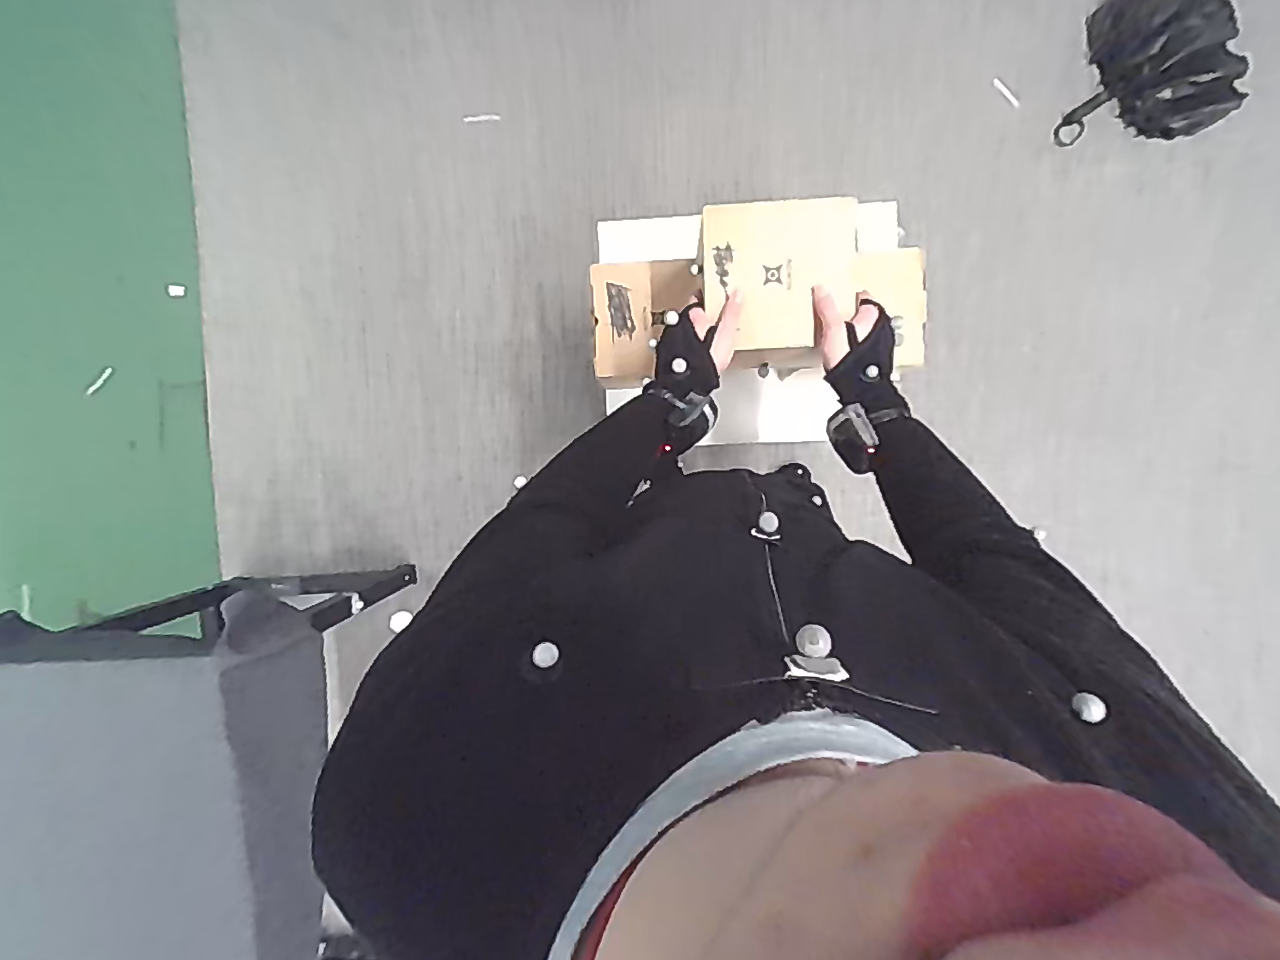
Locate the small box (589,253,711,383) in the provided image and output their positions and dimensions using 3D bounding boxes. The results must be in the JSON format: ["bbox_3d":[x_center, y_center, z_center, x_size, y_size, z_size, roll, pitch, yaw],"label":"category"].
[{"bbox_3d":[0.018,-0.245,0.855,0.179,0.176,0.168,-2,95,0],"label":"small box"}]

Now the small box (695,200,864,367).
[{"bbox_3d":[0.165,-0.238,0.689,0.179,0.176,0.168,-1,95,1],"label":"small box"}]

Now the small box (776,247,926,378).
[{"bbox_3d":[0.318,-0.252,0.846,0.179,0.176,0.168,-1,94,3],"label":"small box"}]
